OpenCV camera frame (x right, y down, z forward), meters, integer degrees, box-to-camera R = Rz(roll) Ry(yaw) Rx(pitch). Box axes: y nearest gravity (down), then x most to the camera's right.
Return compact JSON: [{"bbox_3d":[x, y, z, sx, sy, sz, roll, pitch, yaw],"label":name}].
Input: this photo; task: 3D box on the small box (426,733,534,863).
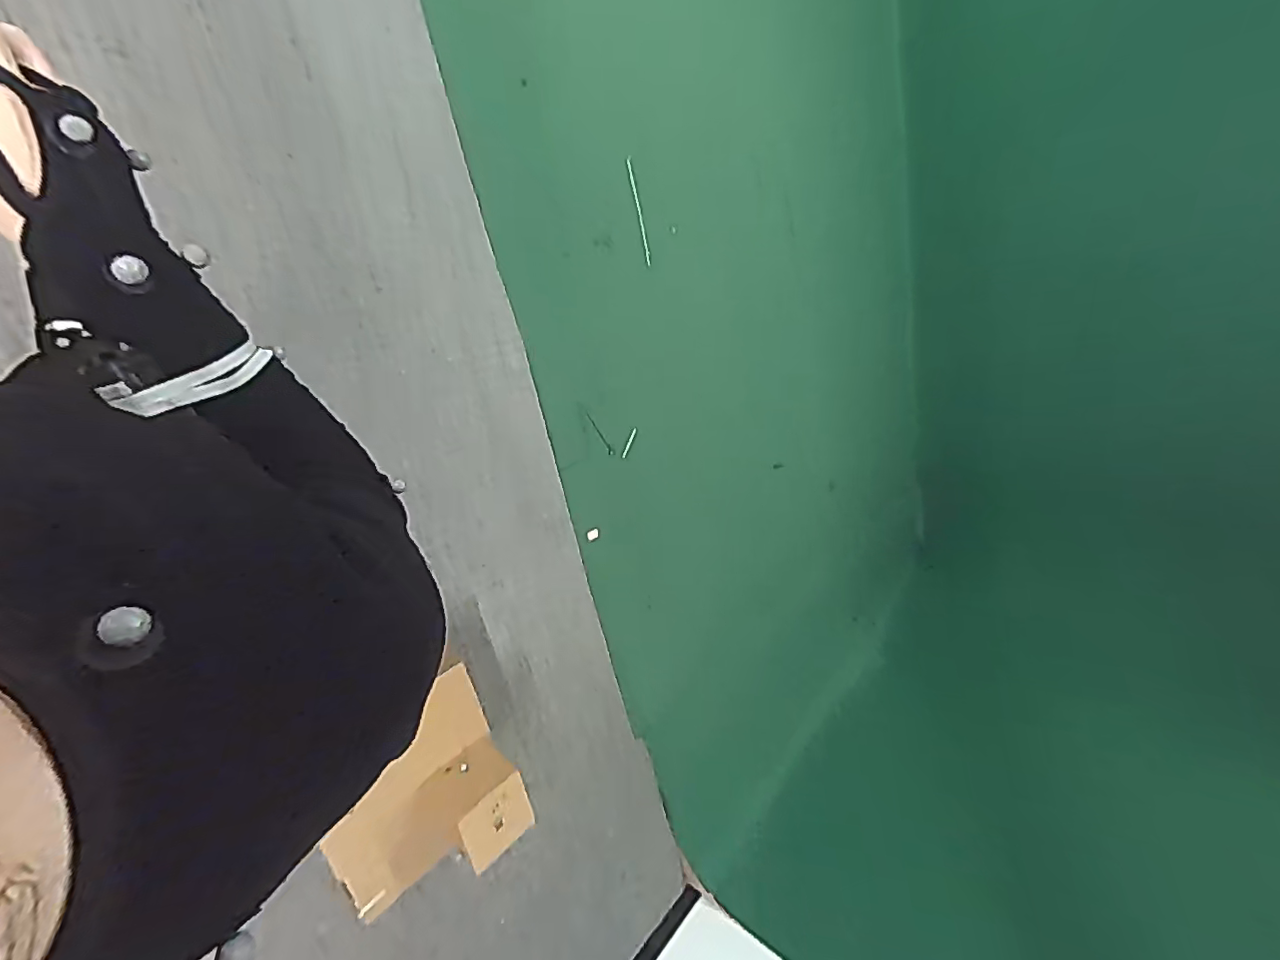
[{"bbox_3d":[-0.387,0.756,1.307,0.168,0.176,0.179,-29,118,-40],"label":"small box"}]
